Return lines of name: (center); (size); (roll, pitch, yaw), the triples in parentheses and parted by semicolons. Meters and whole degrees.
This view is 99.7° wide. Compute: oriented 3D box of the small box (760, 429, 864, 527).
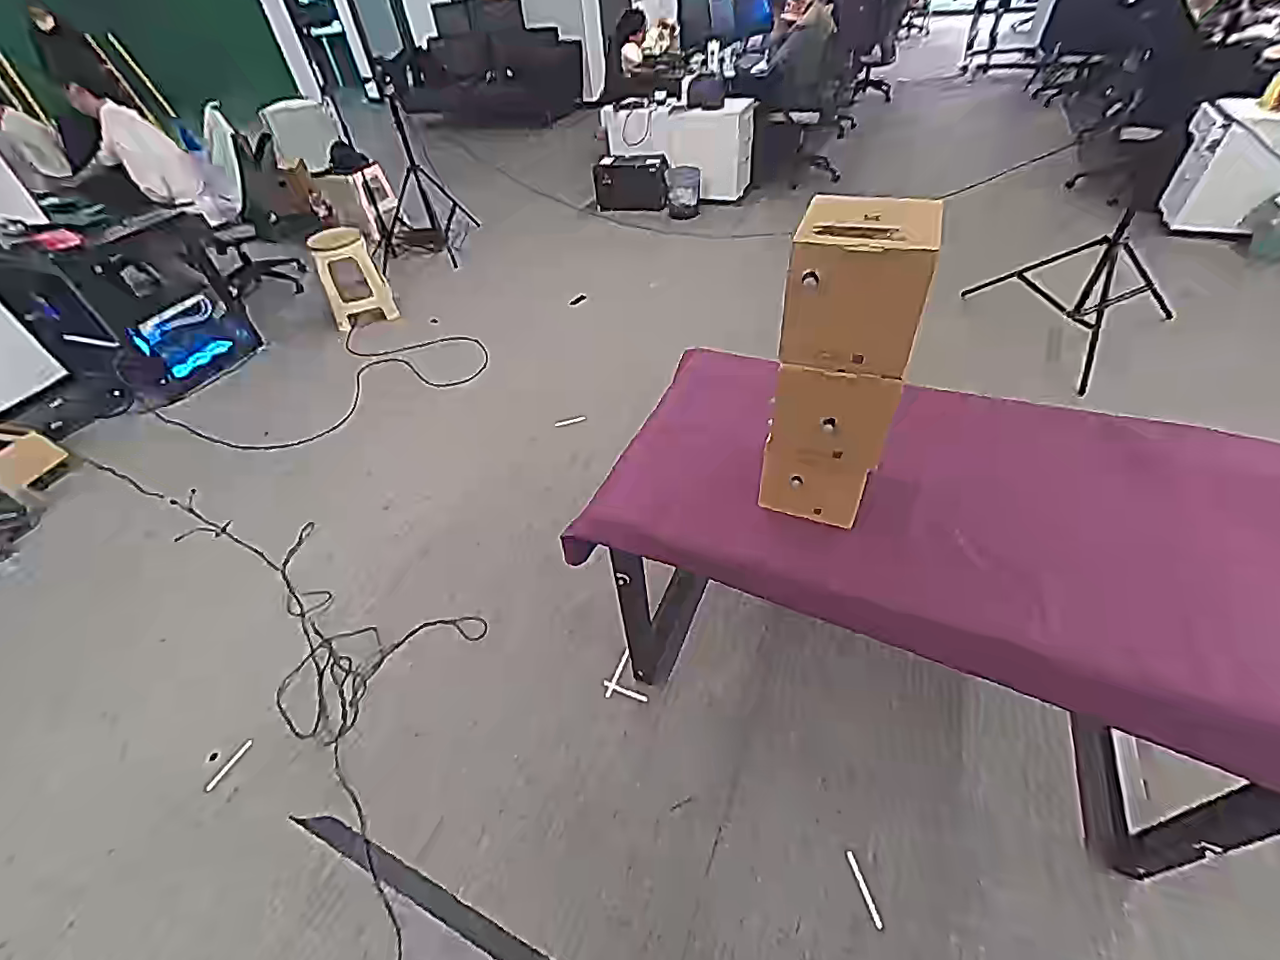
small box: (0.320, -0.042, 0.979); (0.168, 0.176, 0.179); (14, 48, 19)

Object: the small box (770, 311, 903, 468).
small box: (0.302, -0.141, 0.848); (0.168, 0.176, 0.179); (11, 48, 16)
